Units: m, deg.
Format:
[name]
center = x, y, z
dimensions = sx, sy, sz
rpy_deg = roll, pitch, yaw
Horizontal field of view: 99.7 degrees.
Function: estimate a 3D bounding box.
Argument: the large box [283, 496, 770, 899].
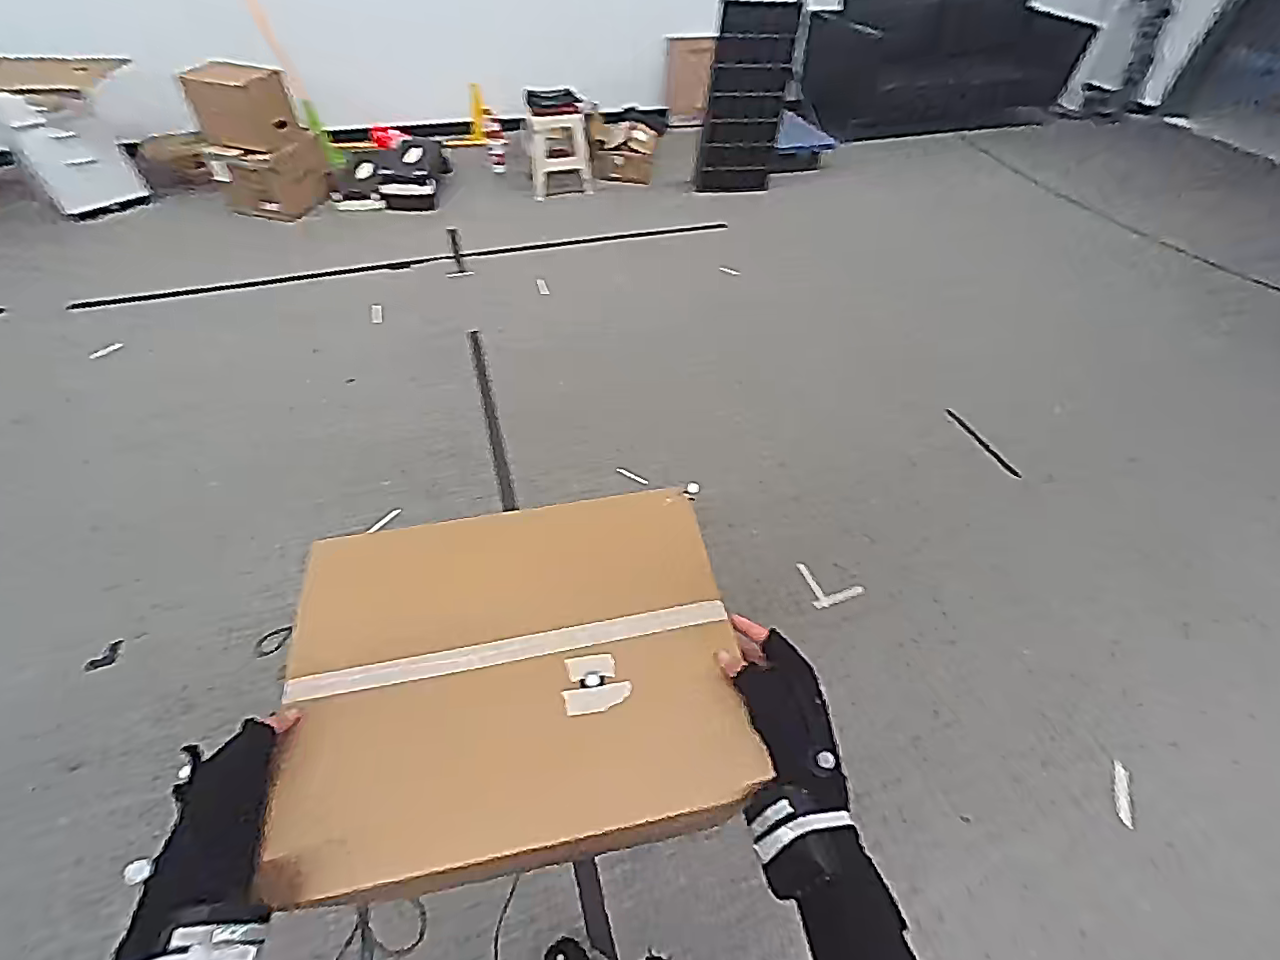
[large box]
center = -0.114, 0.257, 0.642
dimensions = 0.408, 0.320, 0.320
rpy_deg = -8, 55, -8
